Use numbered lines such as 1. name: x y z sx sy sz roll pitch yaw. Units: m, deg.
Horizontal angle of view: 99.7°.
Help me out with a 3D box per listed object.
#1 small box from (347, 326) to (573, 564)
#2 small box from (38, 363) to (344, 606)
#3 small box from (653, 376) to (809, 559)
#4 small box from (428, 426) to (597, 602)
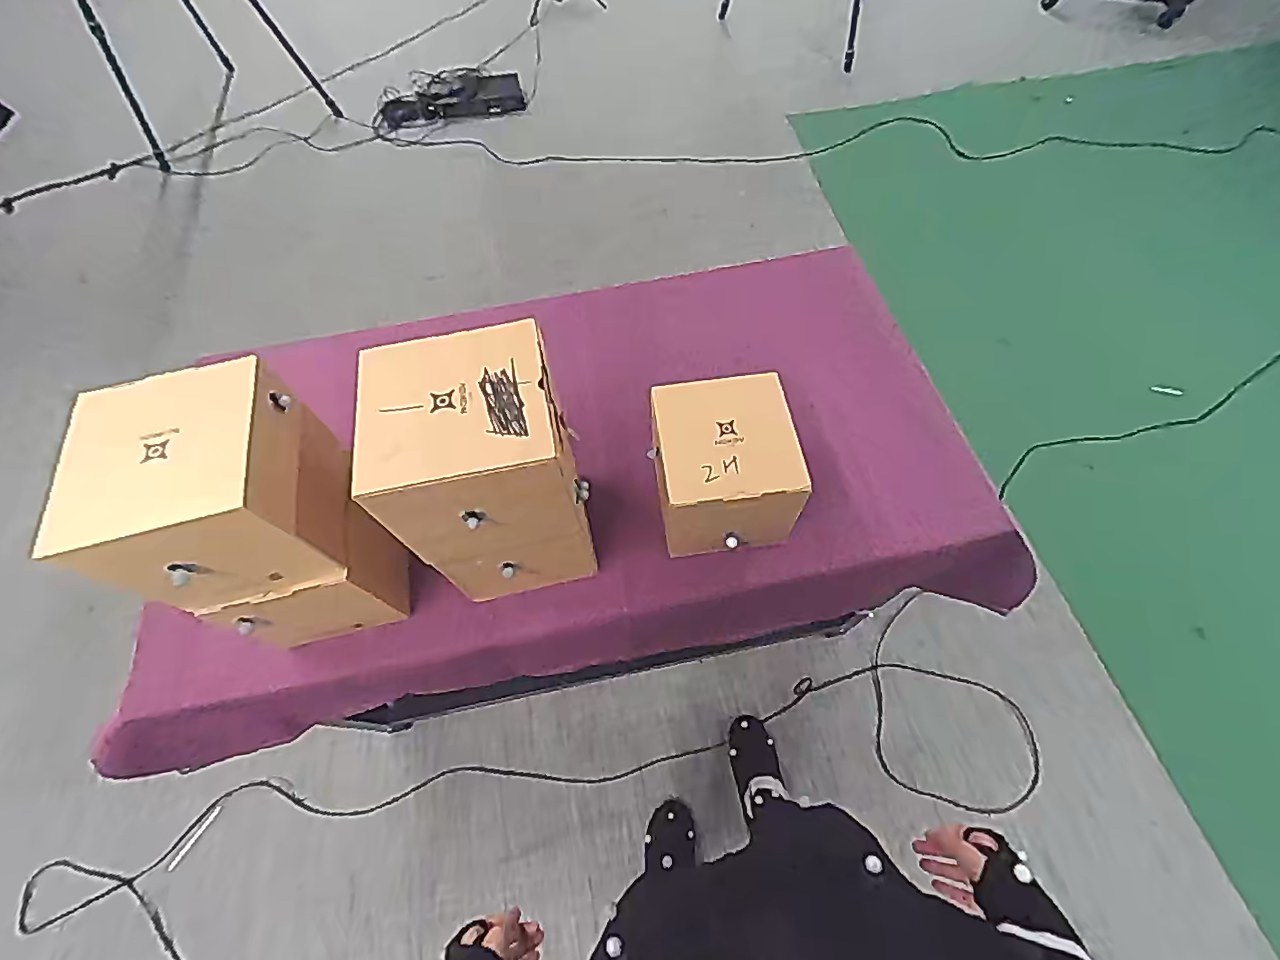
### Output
1. small box: -0.170 -0.028 0.561 0.179 0.176 0.168 -12 61 -2
2. small box: -0.426 0.016 0.553 0.168 0.176 0.179 -15 60 -5
3. small box: 0.107 -0.011 0.722 0.168 0.176 0.179 -7 61 0
4. small box: -0.163 0.046 0.708 0.179 0.176 0.168 -12 62 -4
